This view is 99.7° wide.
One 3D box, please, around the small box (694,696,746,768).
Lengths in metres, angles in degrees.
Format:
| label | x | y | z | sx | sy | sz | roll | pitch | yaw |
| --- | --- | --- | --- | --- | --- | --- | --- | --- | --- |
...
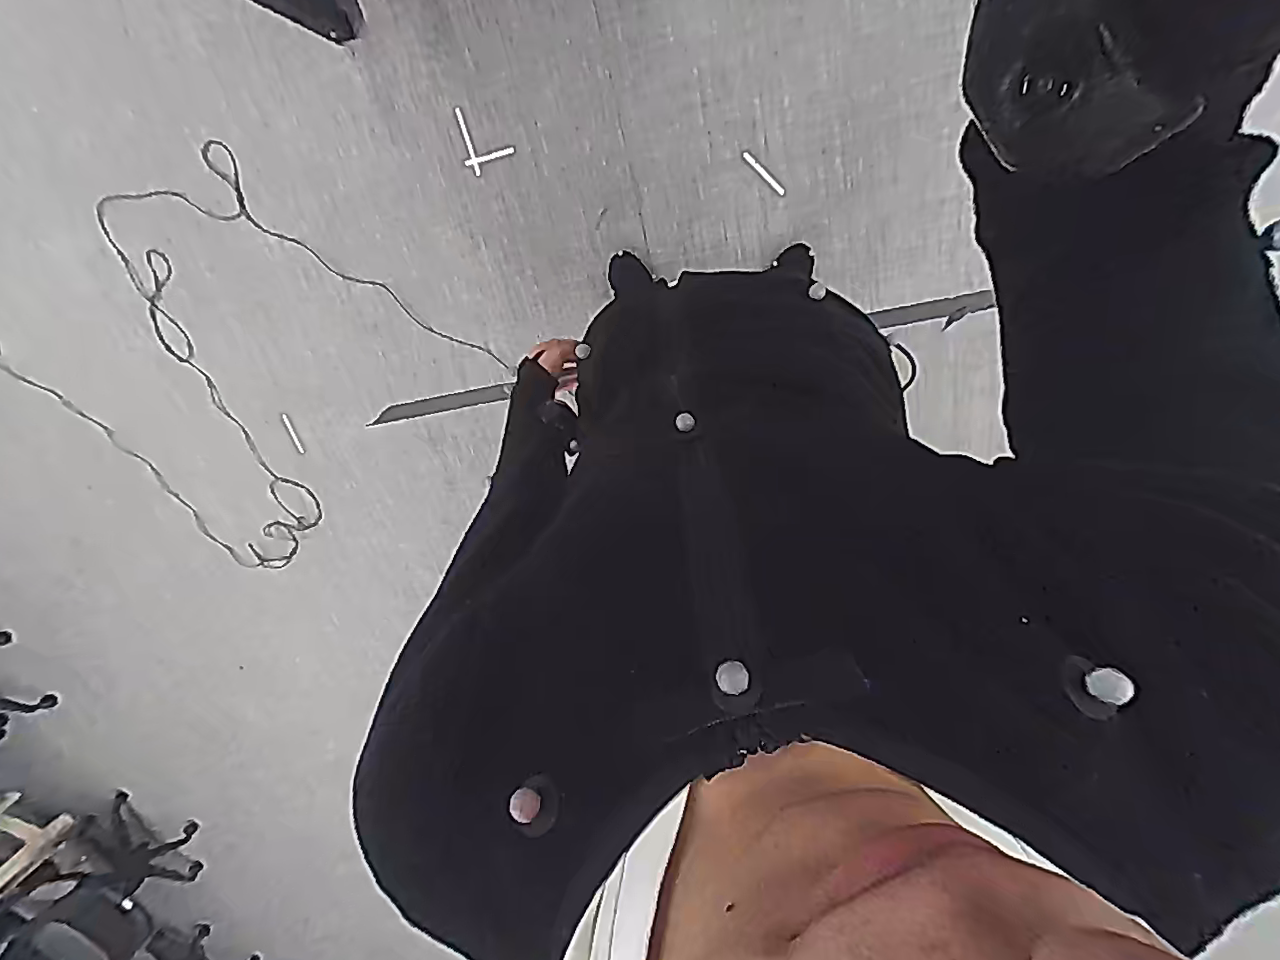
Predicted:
| label | x | y | z | sx | sy | sz | roll | pitch | yaw |
| --- | --- | --- | --- | --- | --- | --- | --- | --- | --- |
| small box | 0.299 | 0.936 | 2.011 | 0.168 | 0.176 | 0.179 | -10 | 111 | 9 |
